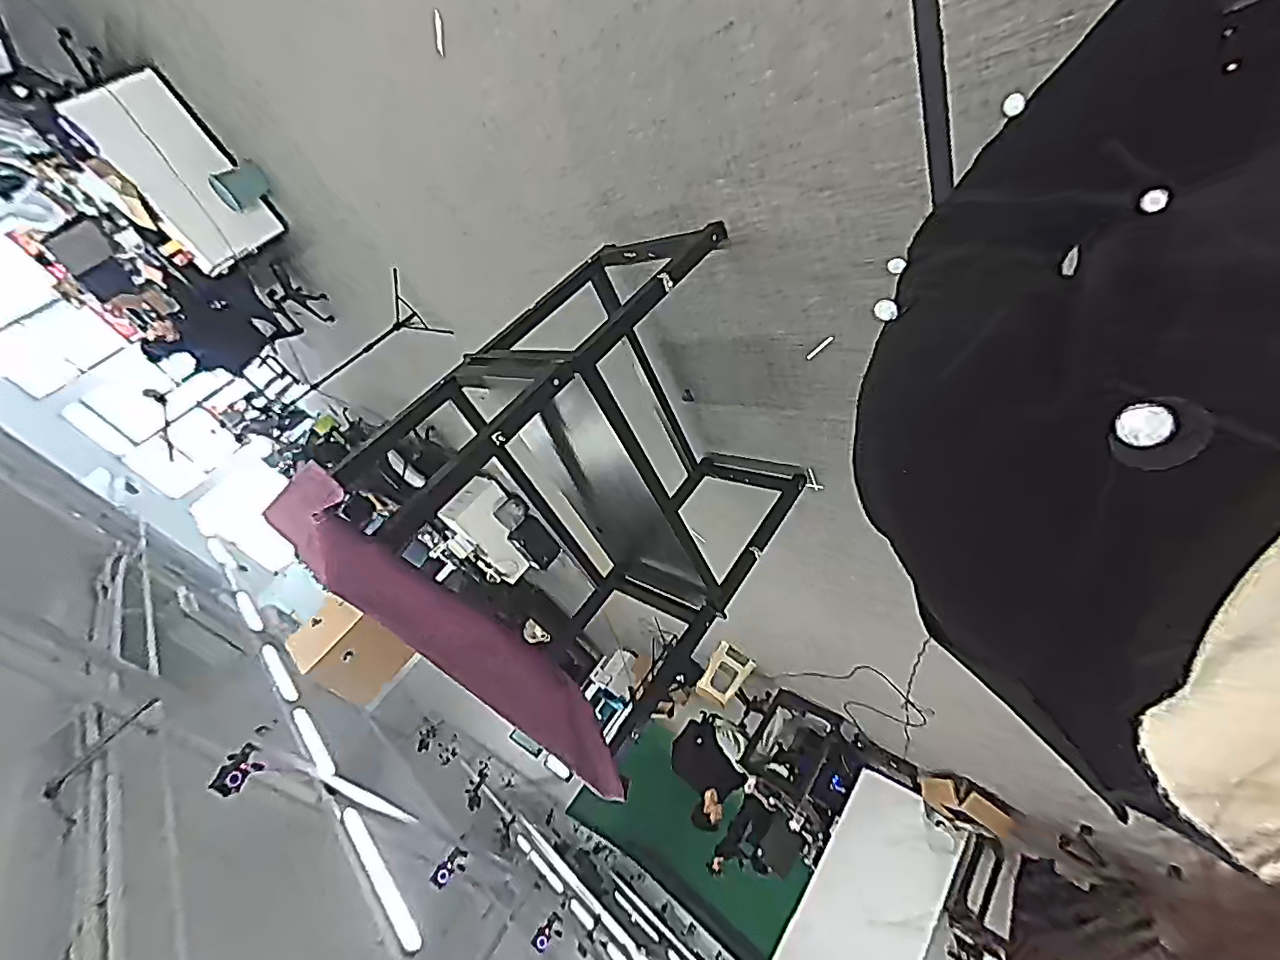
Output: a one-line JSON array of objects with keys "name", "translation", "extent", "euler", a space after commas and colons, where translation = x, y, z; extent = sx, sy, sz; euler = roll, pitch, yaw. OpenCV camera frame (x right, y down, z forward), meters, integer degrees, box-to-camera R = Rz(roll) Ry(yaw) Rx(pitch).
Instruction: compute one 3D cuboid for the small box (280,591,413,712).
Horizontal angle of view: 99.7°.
[{"name": "small box", "translation": [-0.660, 0.382, 1.227], "extent": [0.168, 0.176, 0.179], "euler": [17, 148, 43]}]
